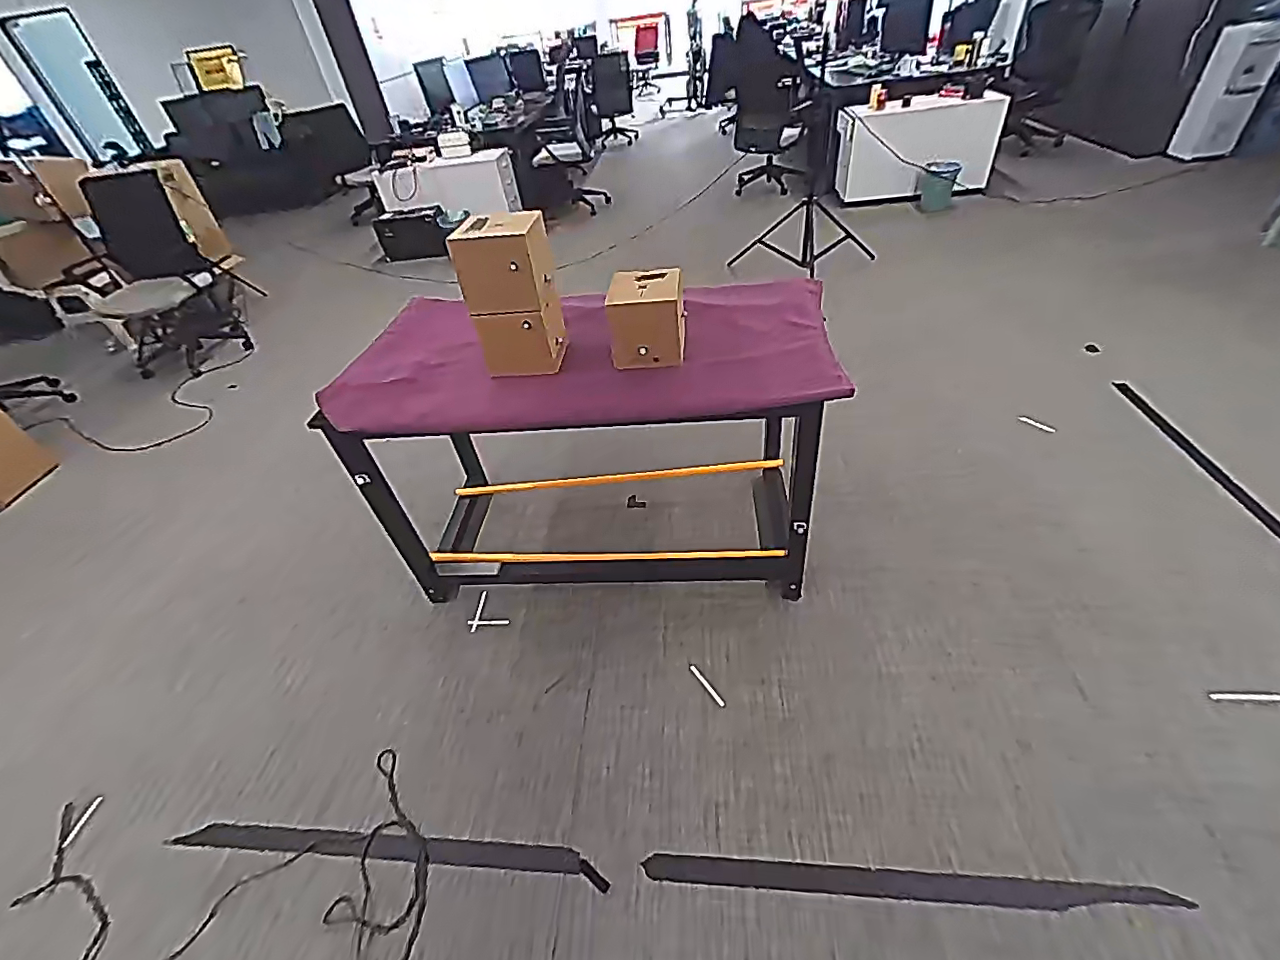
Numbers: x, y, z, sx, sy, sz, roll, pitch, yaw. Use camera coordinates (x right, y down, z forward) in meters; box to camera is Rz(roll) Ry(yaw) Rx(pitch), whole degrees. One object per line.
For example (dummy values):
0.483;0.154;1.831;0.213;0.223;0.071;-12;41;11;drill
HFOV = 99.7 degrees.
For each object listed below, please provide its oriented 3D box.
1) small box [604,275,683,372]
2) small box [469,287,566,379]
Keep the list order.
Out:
0.015;-0.378;1.311;0.168;0.176;0.179;-1;42;9;small box
-0.296;-0.363;1.349;0.179;0.176;0.168;-2;41;7;small box
